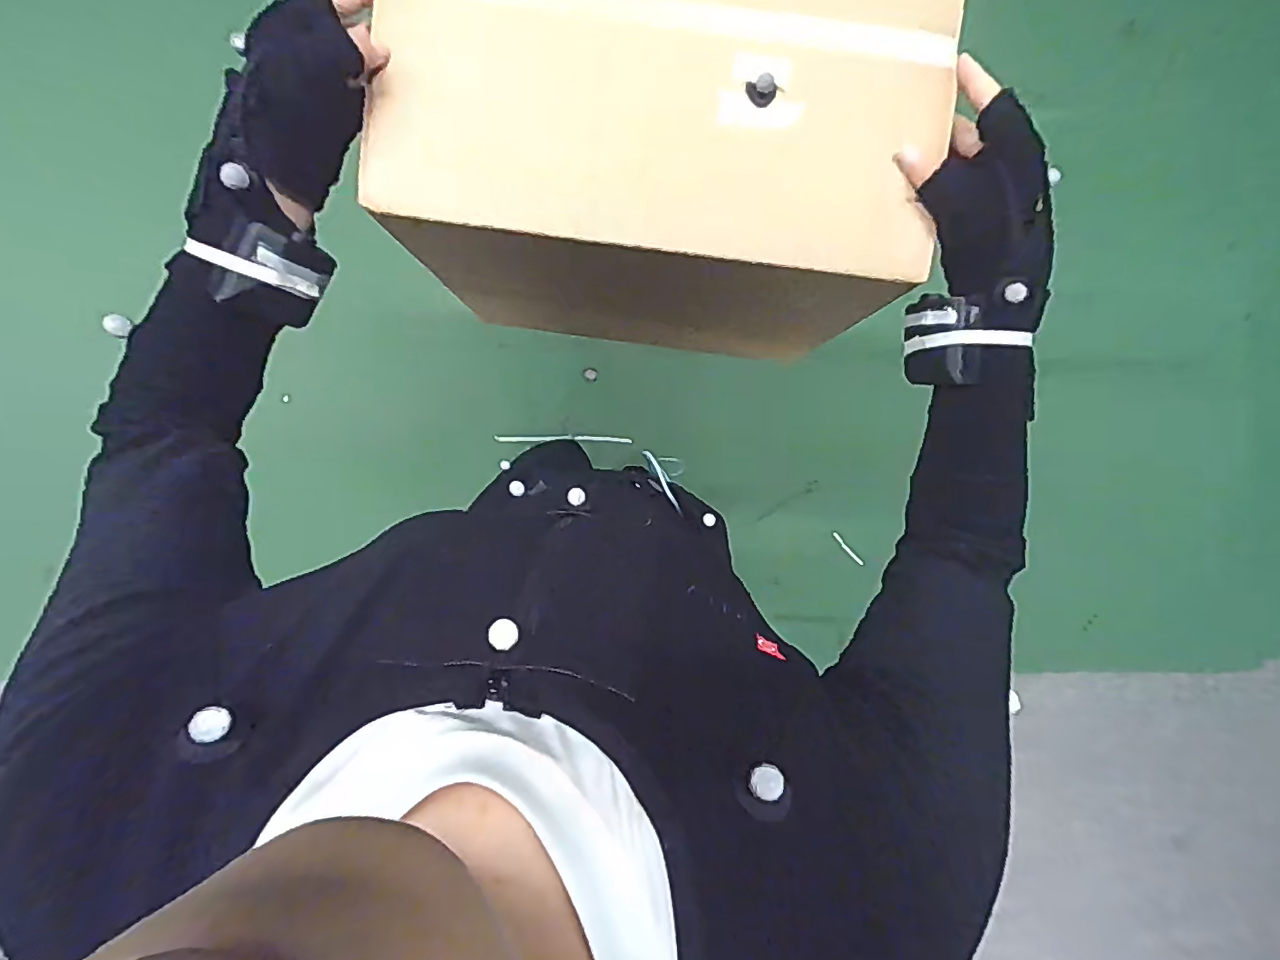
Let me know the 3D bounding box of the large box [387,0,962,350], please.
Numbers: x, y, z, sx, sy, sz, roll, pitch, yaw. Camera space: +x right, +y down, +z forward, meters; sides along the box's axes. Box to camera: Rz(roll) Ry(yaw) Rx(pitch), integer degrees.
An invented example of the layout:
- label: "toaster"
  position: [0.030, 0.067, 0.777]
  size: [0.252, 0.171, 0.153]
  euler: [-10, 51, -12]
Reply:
- label: "large box"
  position: [0.024, -0.332, 0.535]
  size: [0.408, 0.320, 0.320]
  euler: [7, 92, -3]
